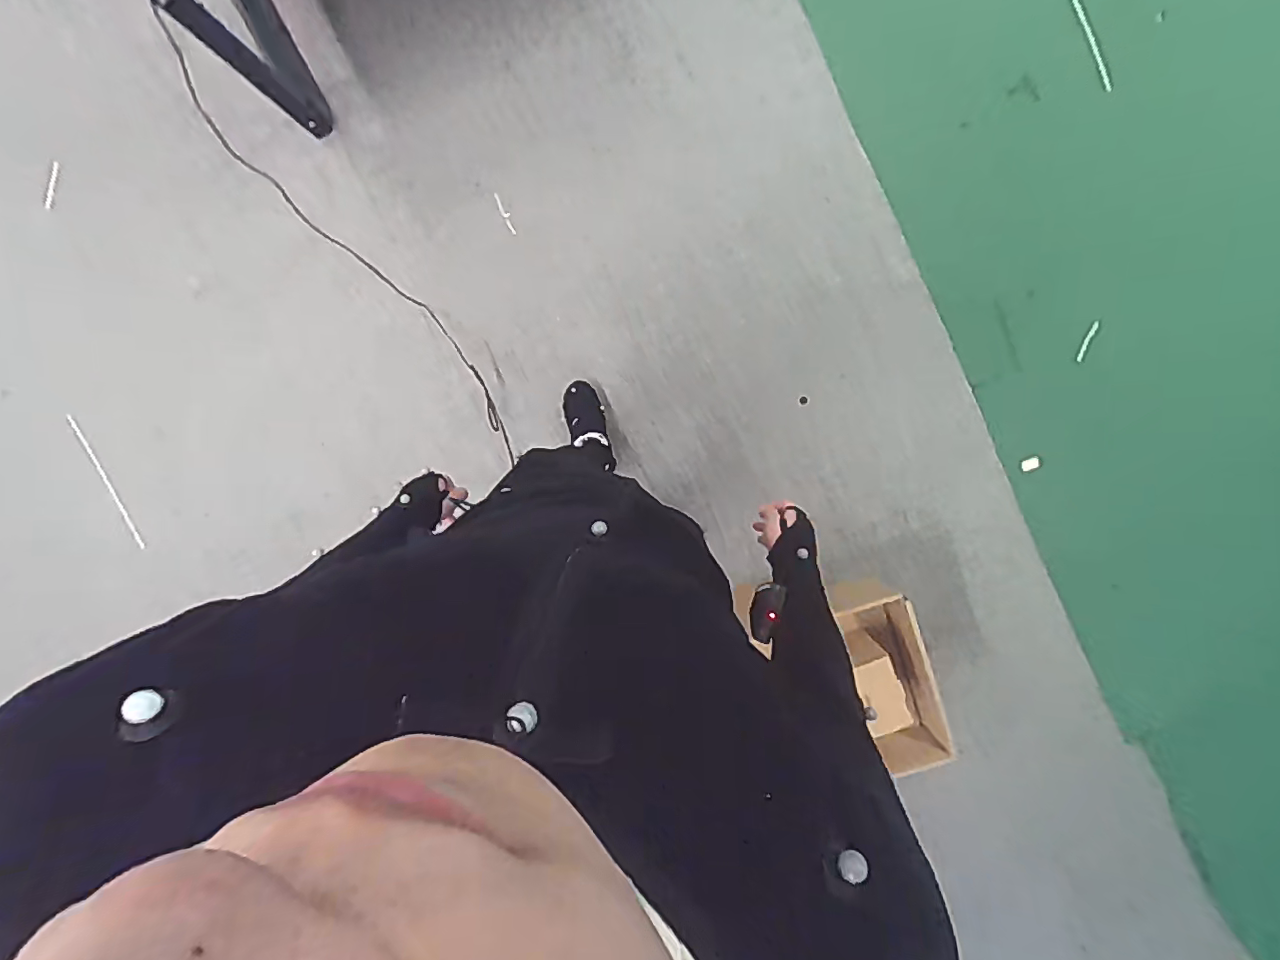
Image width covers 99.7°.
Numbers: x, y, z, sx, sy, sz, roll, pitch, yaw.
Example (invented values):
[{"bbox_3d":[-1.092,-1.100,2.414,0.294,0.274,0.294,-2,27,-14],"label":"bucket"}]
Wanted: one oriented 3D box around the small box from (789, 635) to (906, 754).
[{"bbox_3d":[0.464,0.478,1.232,0.179,0.176,0.168,-21,94,3],"label":"small box"}]
